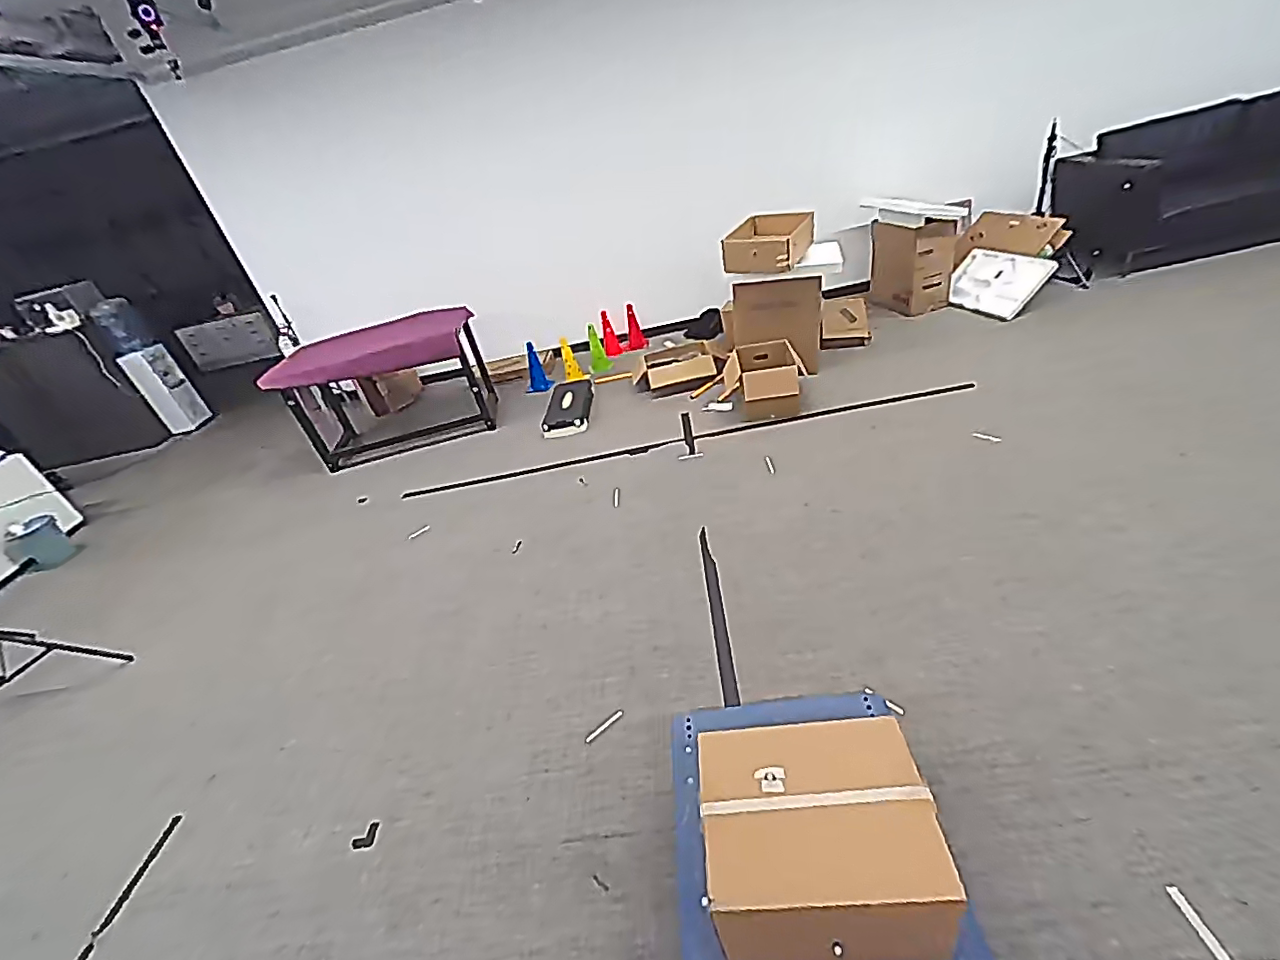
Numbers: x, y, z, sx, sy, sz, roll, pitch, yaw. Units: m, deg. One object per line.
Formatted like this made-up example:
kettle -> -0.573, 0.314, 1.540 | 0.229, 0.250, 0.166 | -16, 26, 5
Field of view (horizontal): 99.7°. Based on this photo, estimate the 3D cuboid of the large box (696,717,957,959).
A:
large box -> 0.345, 0.721, 1.078 | 0.408, 0.320, 0.320 | -10, 32, 8
